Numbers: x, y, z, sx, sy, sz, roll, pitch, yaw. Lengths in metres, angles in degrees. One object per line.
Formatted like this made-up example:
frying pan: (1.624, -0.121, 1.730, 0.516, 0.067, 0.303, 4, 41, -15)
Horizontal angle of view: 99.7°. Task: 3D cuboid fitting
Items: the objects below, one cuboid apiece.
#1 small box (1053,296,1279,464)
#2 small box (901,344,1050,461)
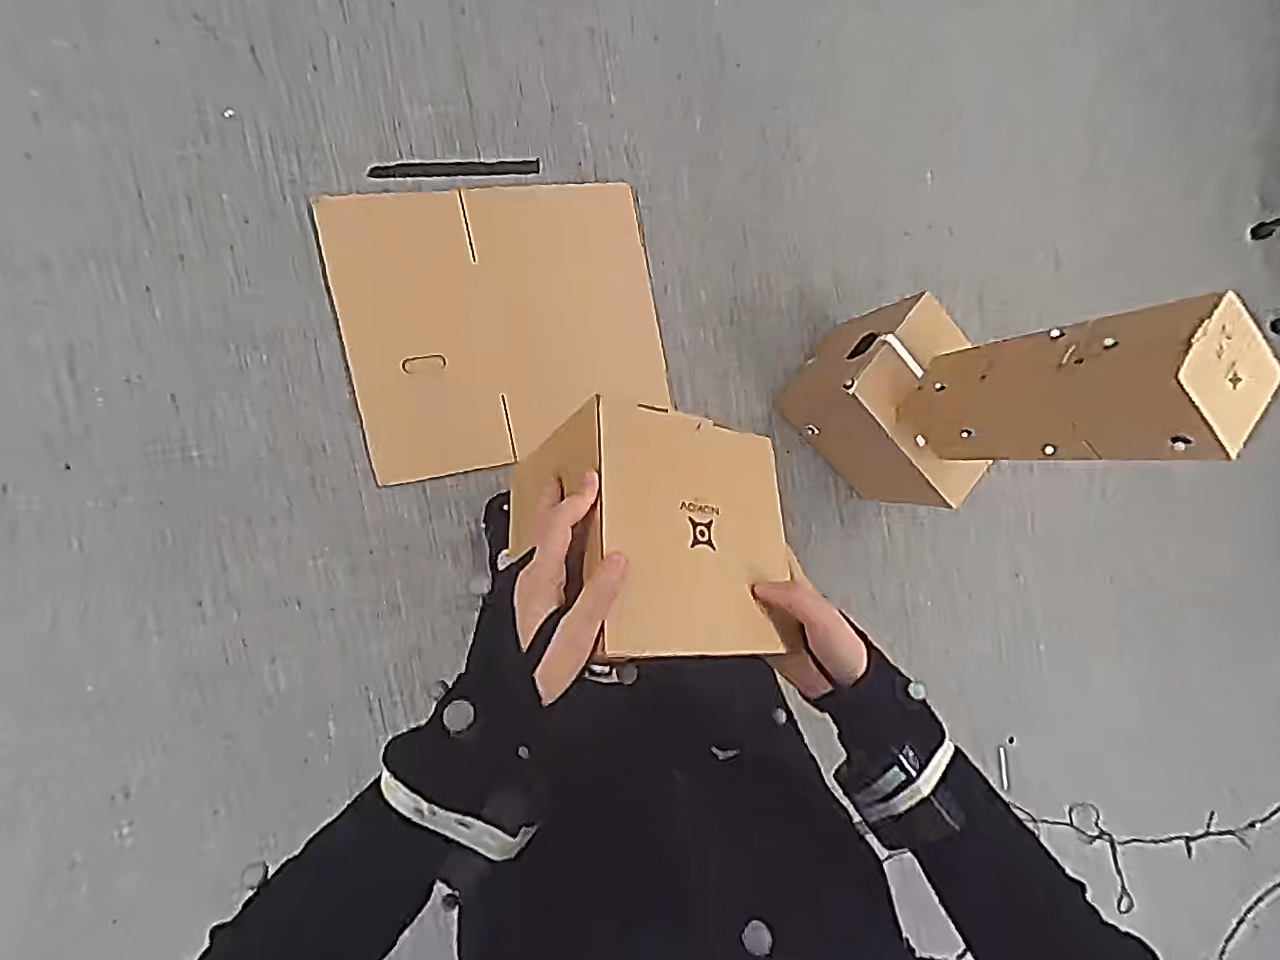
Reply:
small box: (0.789, -0.142, 0.821, 0.179, 0.176, 0.168, 42, 80, -14)
small box: (0.695, -0.154, 1.137, 0.179, 0.176, 0.168, 41, 81, -15)
